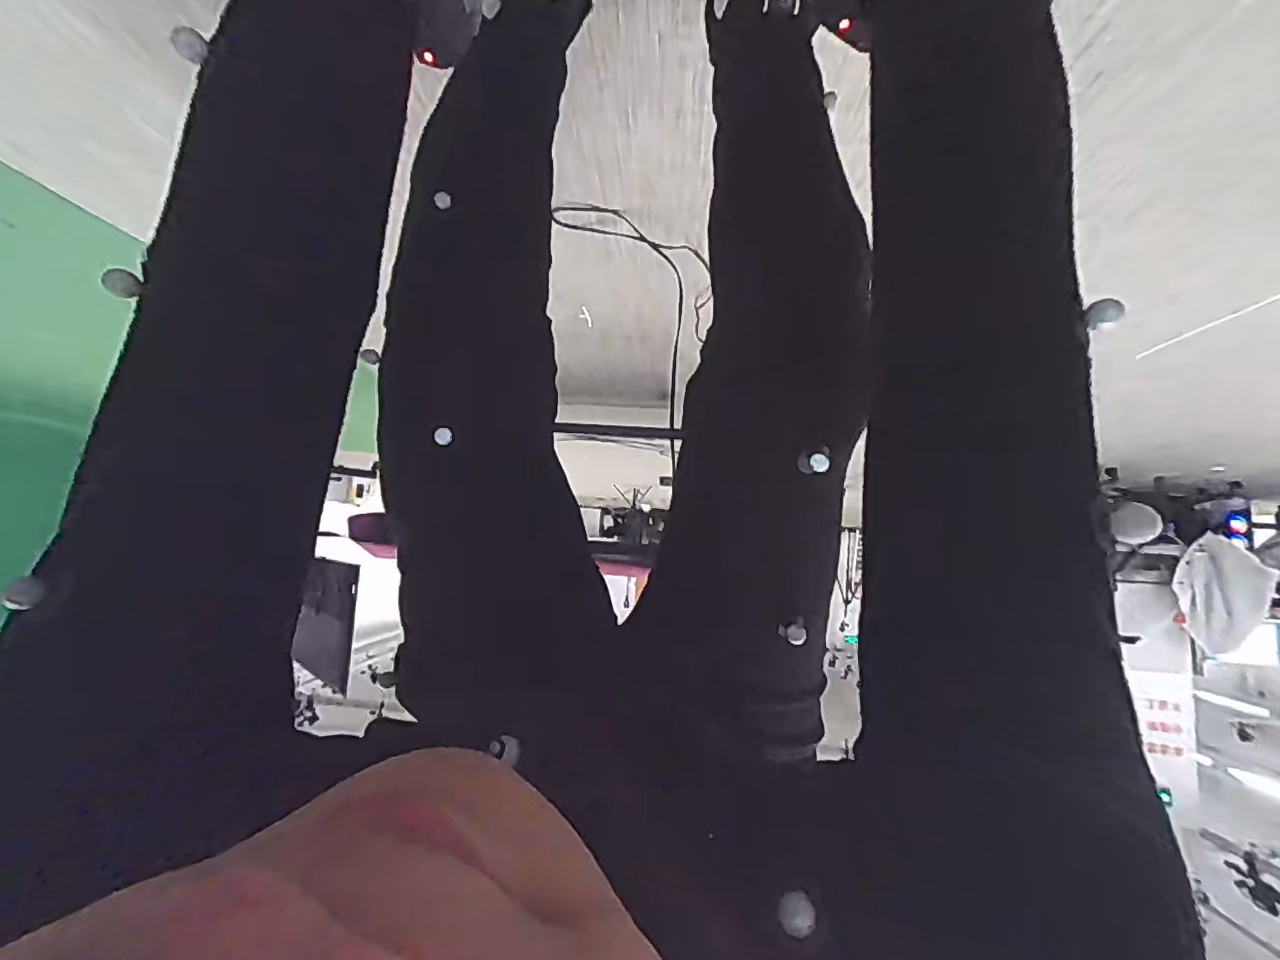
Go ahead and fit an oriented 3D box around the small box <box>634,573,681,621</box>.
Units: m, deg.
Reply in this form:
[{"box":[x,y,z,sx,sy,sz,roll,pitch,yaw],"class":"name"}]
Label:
[{"box":[0.075,0.478,2.218,0.179,0.176,0.168,4,172,8],"class":"small box"}]
